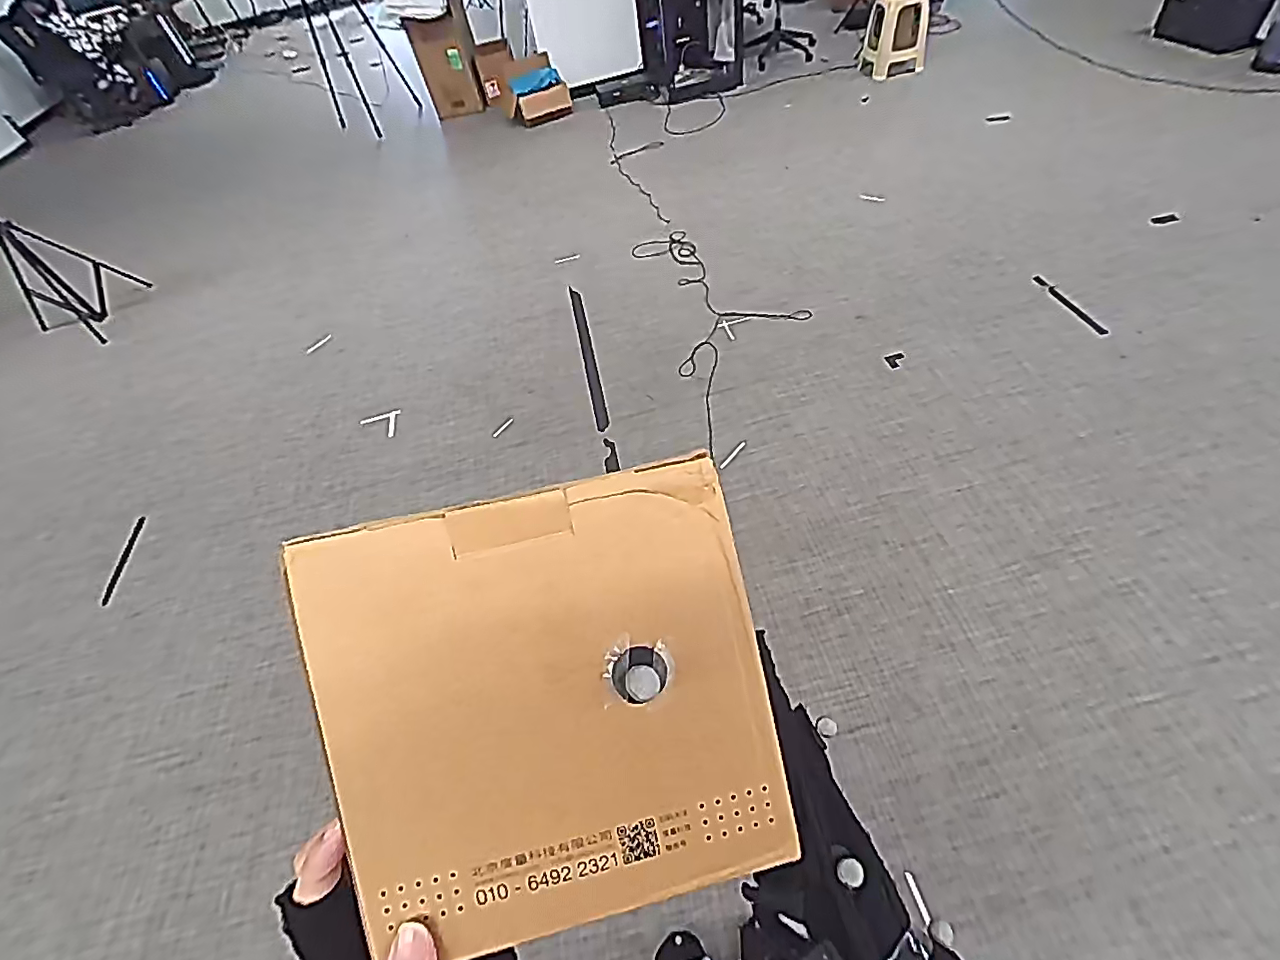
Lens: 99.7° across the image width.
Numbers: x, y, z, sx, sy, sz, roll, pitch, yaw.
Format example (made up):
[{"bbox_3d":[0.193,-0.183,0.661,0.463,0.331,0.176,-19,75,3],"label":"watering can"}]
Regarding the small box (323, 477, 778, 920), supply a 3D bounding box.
[{"bbox_3d":[-0.037,0.099,0.305,0.168,0.179,0.176,-12,91,-5],"label":"small box"}]
